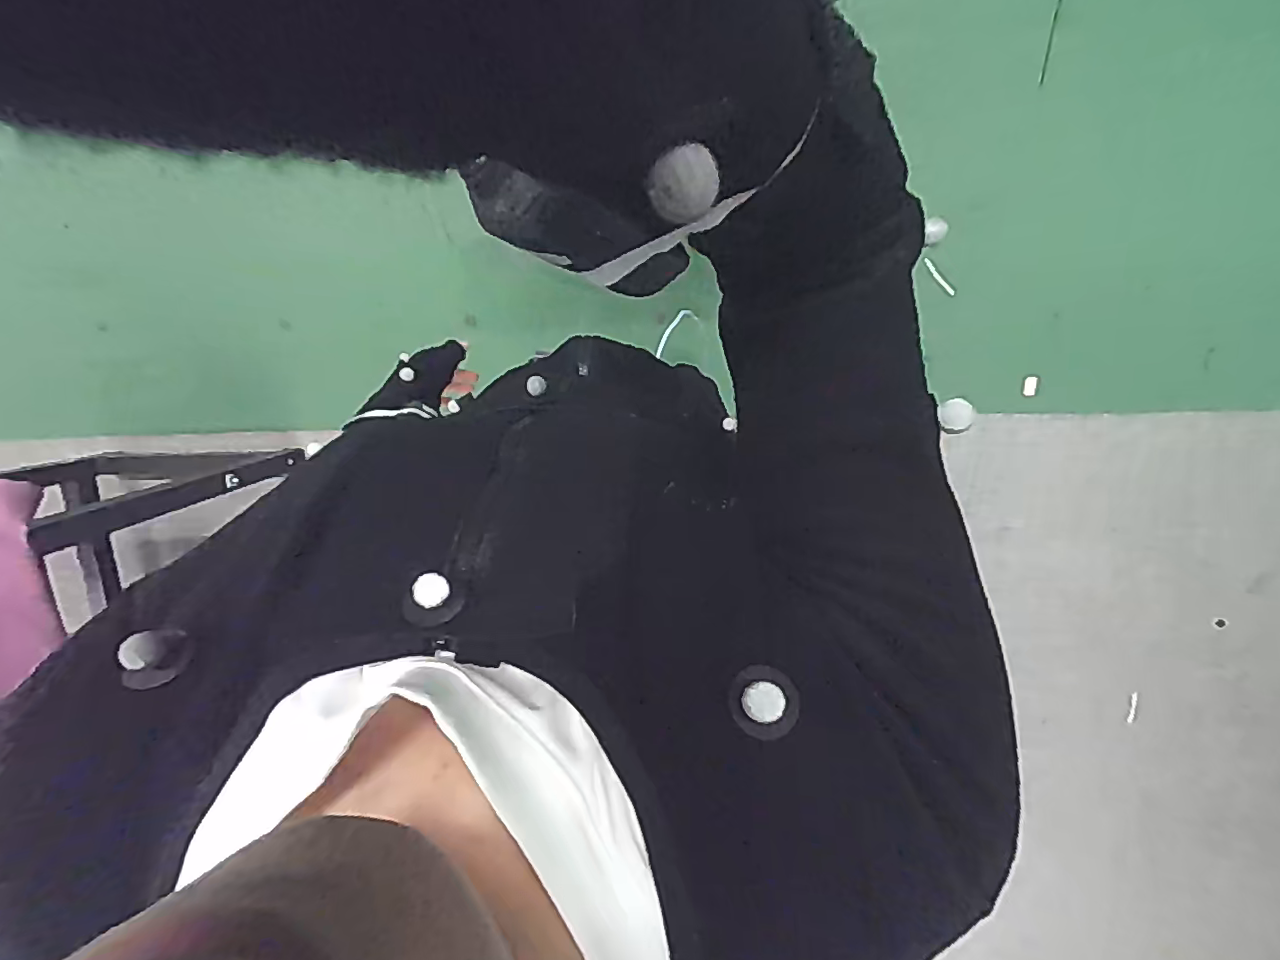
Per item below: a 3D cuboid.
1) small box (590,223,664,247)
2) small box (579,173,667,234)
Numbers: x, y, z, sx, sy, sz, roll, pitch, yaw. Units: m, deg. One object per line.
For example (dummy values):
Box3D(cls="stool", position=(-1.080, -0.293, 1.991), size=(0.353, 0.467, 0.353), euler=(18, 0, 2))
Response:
Box3D(cls="small box", position=(-0.030, -0.649, 1.245), size=(0.168, 0.176, 0.179), euler=(-2, 103, 2))
Box3D(cls="small box", position=(-0.036, -0.611, 1.087), size=(0.168, 0.176, 0.179), euler=(-4, 104, 2))
